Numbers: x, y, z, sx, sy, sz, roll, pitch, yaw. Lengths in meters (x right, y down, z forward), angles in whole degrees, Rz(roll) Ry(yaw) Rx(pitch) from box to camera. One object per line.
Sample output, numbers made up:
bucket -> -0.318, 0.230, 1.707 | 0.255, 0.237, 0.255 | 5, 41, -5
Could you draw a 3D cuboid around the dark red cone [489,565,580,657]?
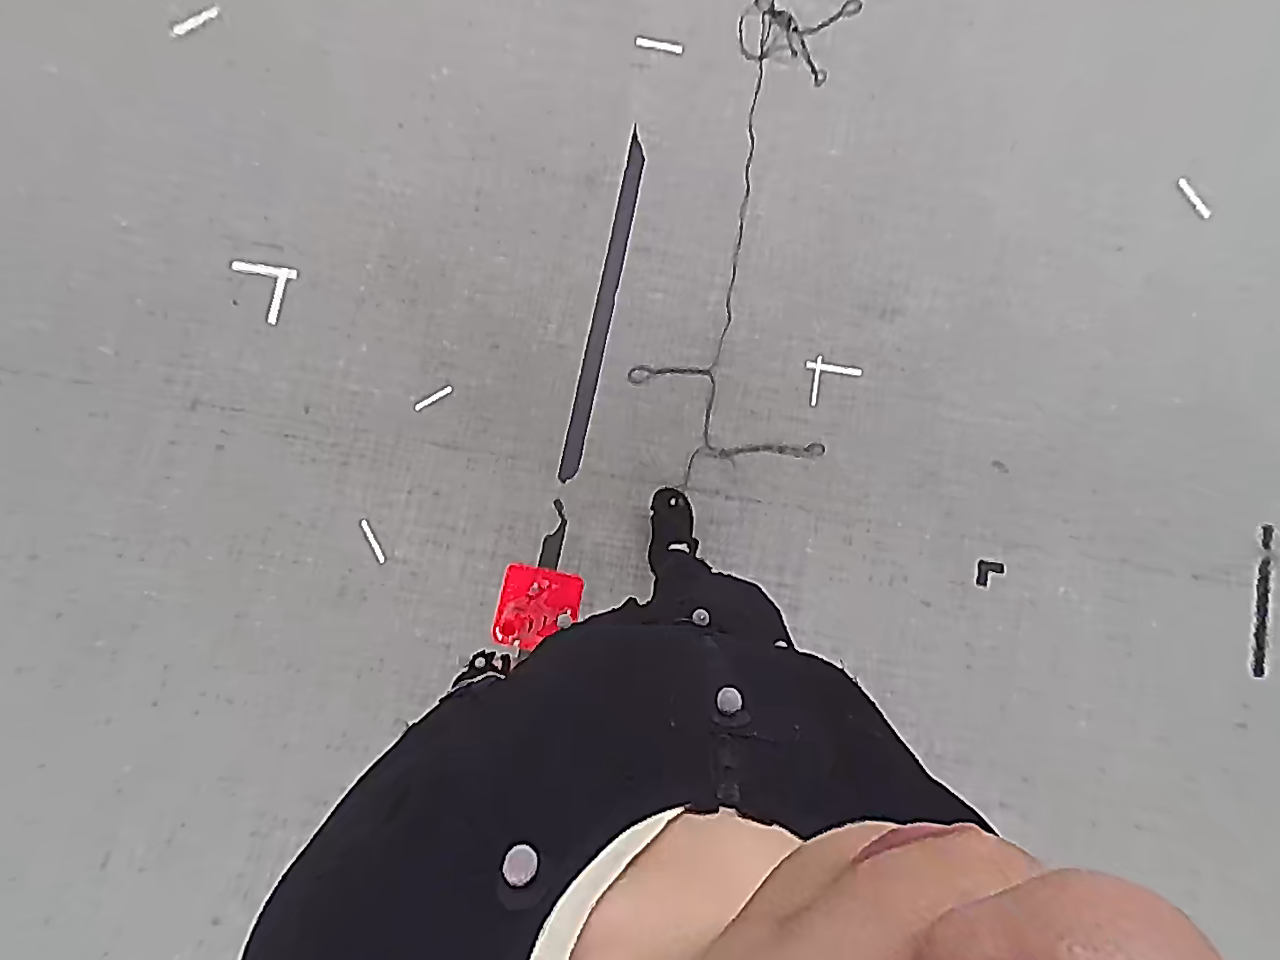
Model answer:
dark red cone -> -0.246, 0.294, 1.156 | 0.201, 0.394, 0.202 | 10, 82, -2
